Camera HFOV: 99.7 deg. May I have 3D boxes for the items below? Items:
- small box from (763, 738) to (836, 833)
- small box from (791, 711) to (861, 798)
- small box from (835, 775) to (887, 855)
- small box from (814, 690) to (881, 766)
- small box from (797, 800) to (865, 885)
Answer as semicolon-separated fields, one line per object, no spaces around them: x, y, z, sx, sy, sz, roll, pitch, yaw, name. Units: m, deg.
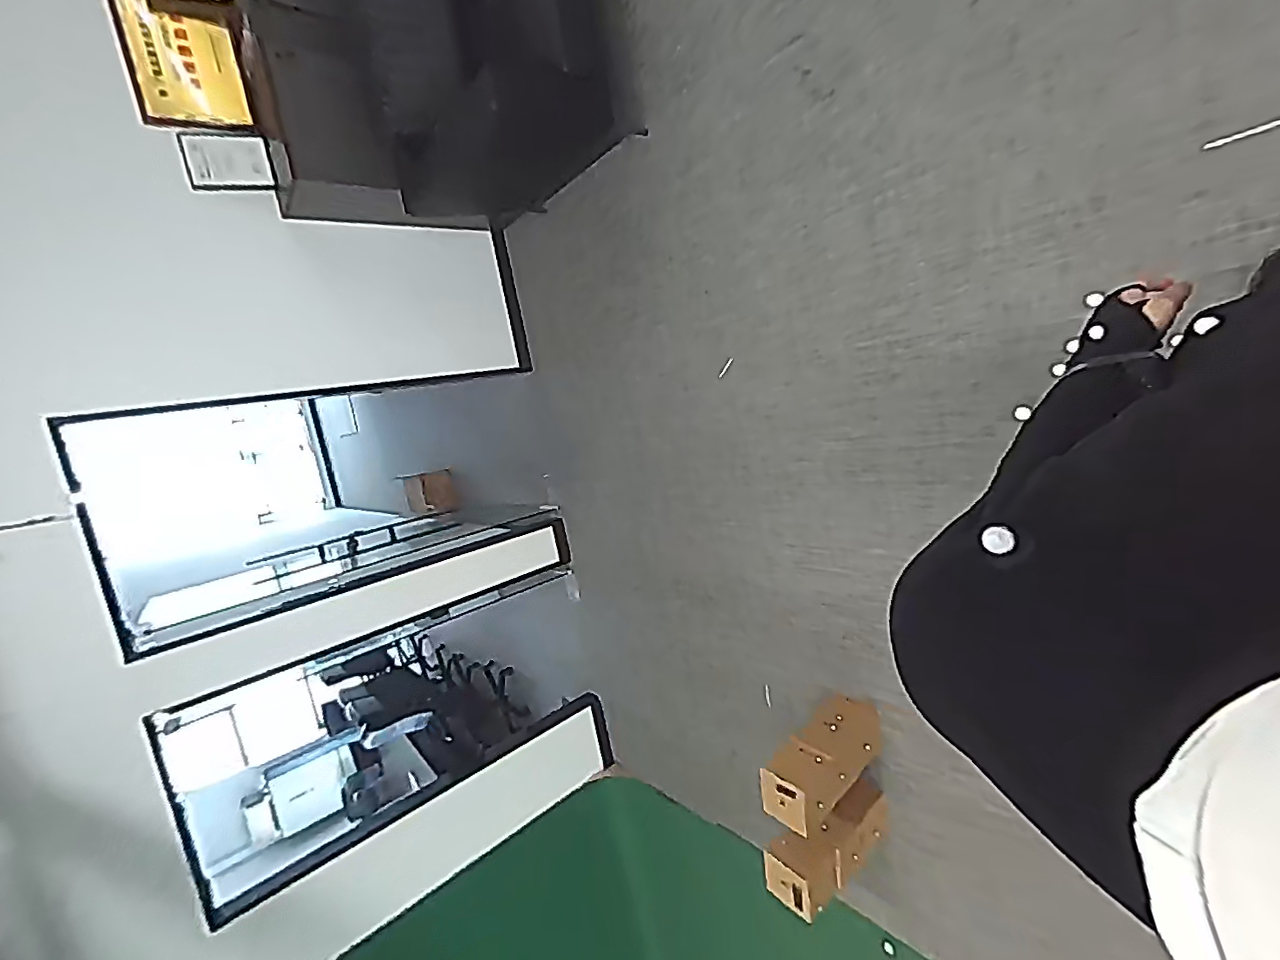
0.520;0.980;1.757;0.168;0.176;0.179;9;111;49;small box
0.642;0.936;1.857;0.168;0.176;0.179;6;107;50;small box
0.809;1.237;2.024;0.179;0.176;0.168;7;108;51;small box
0.760;0.901;1.966;0.168;0.176;0.179;3;106;50;small box
0.682;1.268;1.922;0.179;0.176;0.168;8;108;50;small box
